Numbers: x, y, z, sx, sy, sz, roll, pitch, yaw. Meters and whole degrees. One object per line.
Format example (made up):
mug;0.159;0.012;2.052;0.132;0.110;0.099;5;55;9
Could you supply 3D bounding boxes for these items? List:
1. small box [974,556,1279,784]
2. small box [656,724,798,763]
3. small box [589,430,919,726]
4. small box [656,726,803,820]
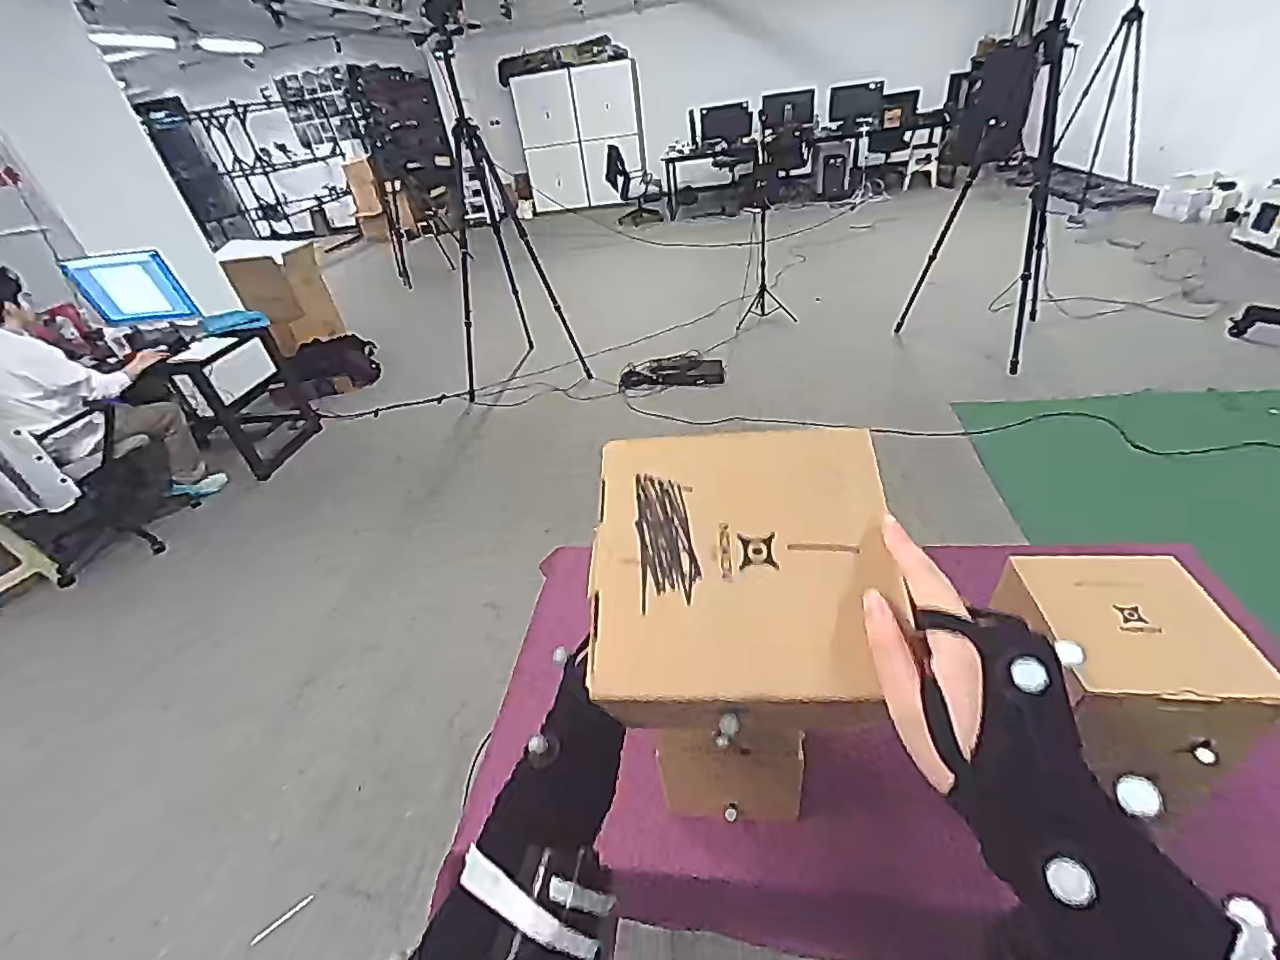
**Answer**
small box;0.496;0.204;0.588;0.168;0.176;0.179;-2;36;10
small box;0.101;0.213;0.660;0.168;0.176;0.179;-2;37;11
small box;0.069;0.081;0.393;0.179;0.176;0.168;-2;60;6
small box;0.121;0.349;0.753;0.179;0.176;0.168;-2;36;8
